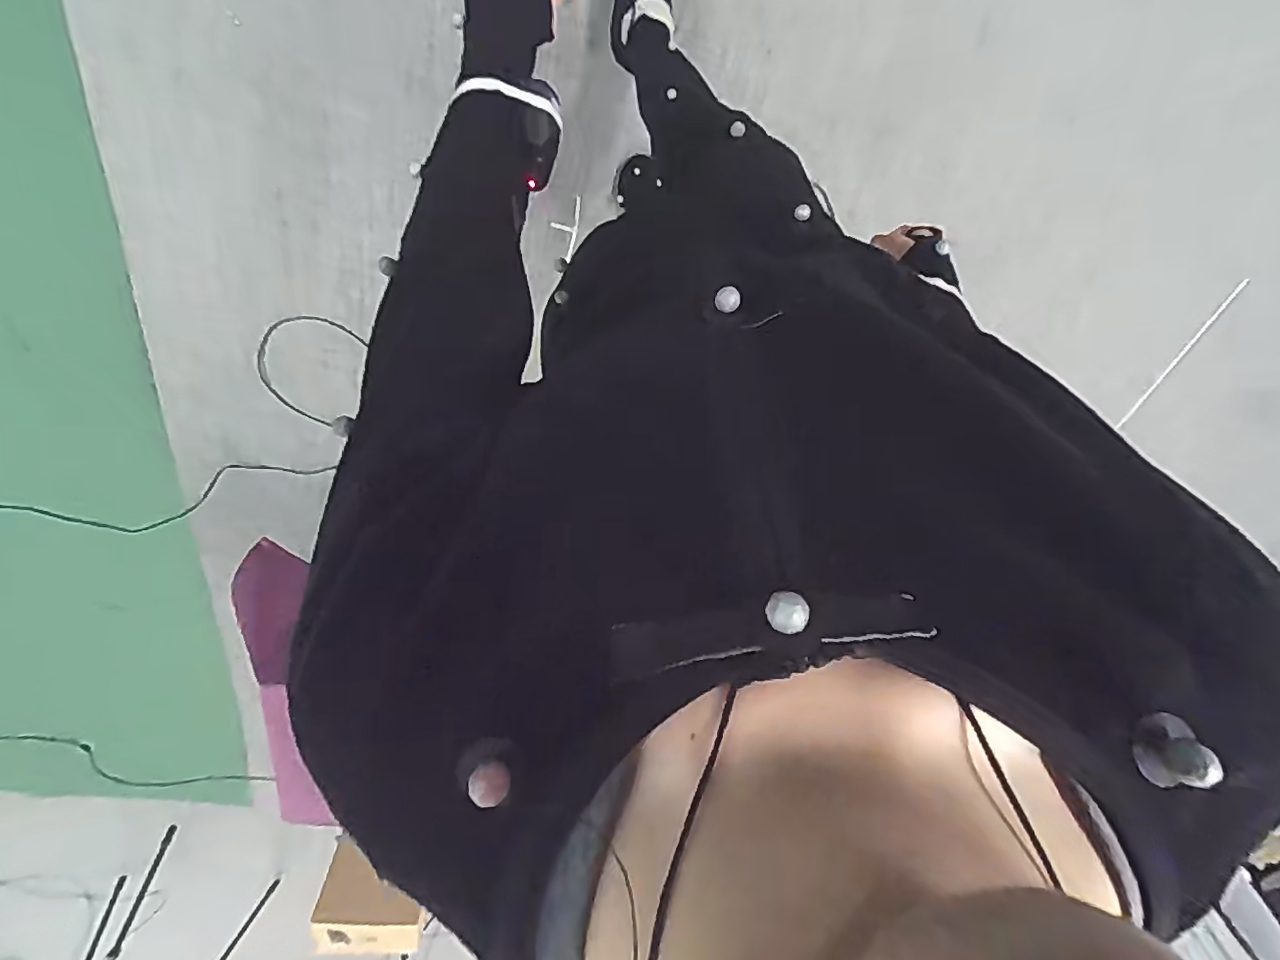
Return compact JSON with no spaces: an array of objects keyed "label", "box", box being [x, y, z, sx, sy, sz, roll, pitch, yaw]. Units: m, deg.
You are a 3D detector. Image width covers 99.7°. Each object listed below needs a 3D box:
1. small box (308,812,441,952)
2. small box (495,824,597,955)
[{"label":"small box","box":[-0.487,0.747,1.011,0.179,0.176,0.168,10,124,-11]},{"label":"small box","box":[-0.184,0.817,1.084,0.168,0.176,0.179,12,125,-10]}]
